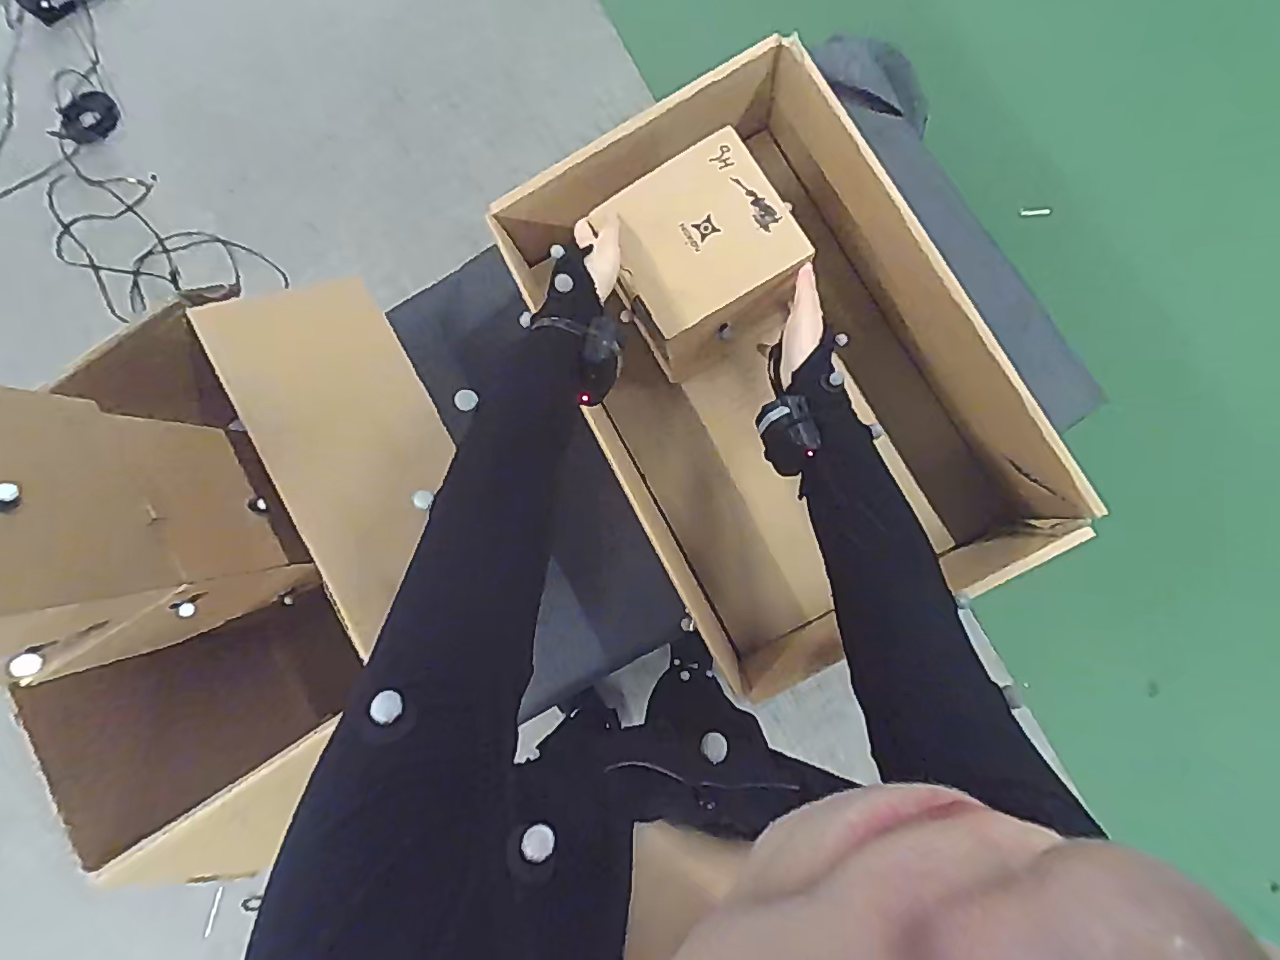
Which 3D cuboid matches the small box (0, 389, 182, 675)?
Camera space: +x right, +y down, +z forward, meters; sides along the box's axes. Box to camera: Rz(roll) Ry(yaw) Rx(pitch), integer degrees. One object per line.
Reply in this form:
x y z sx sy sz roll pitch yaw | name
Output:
-0.483 0.044 0.370 0.168 0.176 0.179 -30 86 5 | small box
